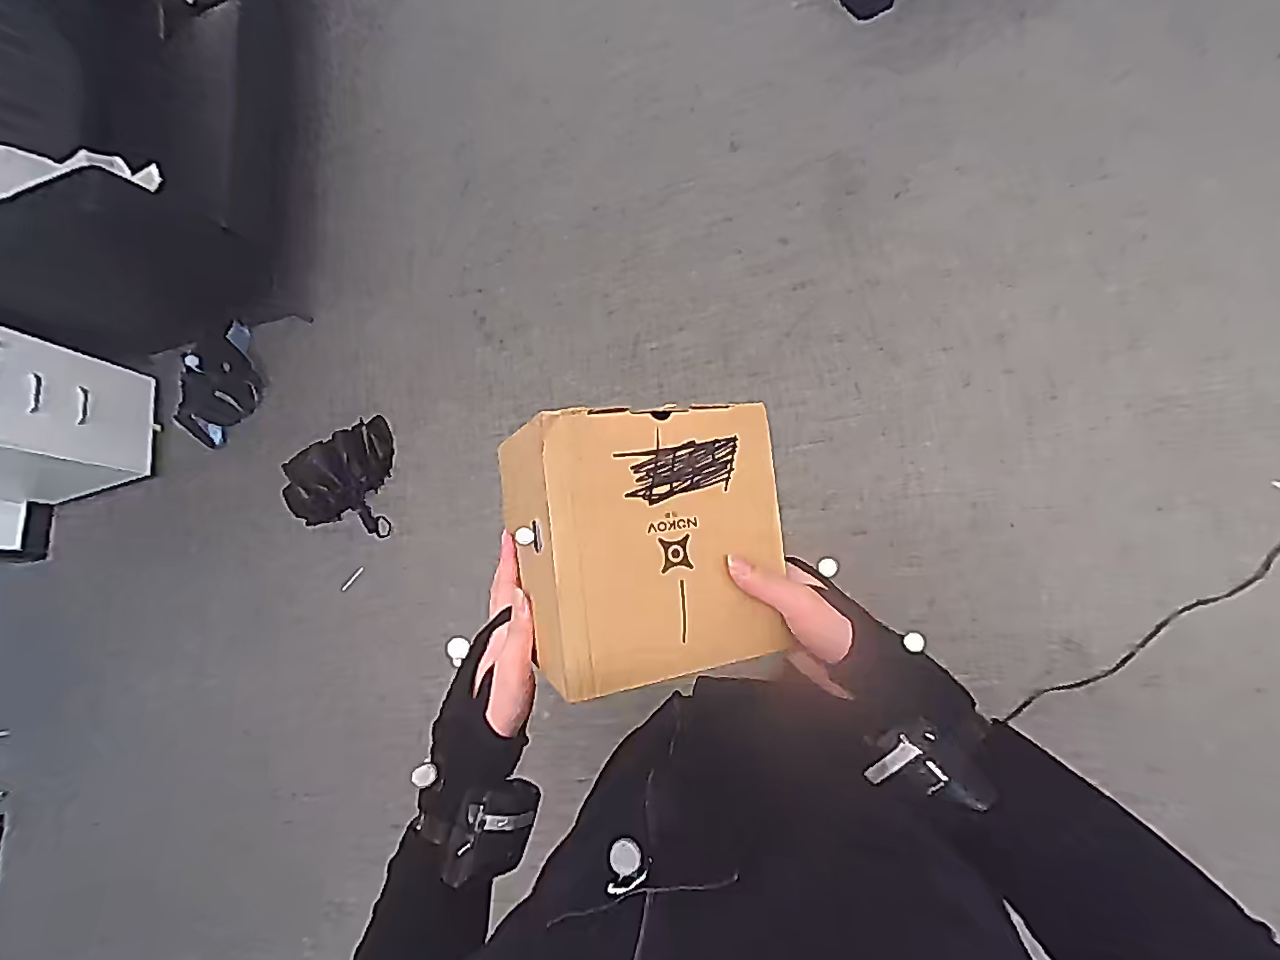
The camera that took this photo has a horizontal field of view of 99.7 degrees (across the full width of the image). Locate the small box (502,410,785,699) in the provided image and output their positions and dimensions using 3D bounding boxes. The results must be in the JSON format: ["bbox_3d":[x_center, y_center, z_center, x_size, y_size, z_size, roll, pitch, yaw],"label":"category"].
[{"bbox_3d":[-0.011,0.048,0.433,0.168,0.176,0.179,-5,88,-22],"label":"small box"}]
